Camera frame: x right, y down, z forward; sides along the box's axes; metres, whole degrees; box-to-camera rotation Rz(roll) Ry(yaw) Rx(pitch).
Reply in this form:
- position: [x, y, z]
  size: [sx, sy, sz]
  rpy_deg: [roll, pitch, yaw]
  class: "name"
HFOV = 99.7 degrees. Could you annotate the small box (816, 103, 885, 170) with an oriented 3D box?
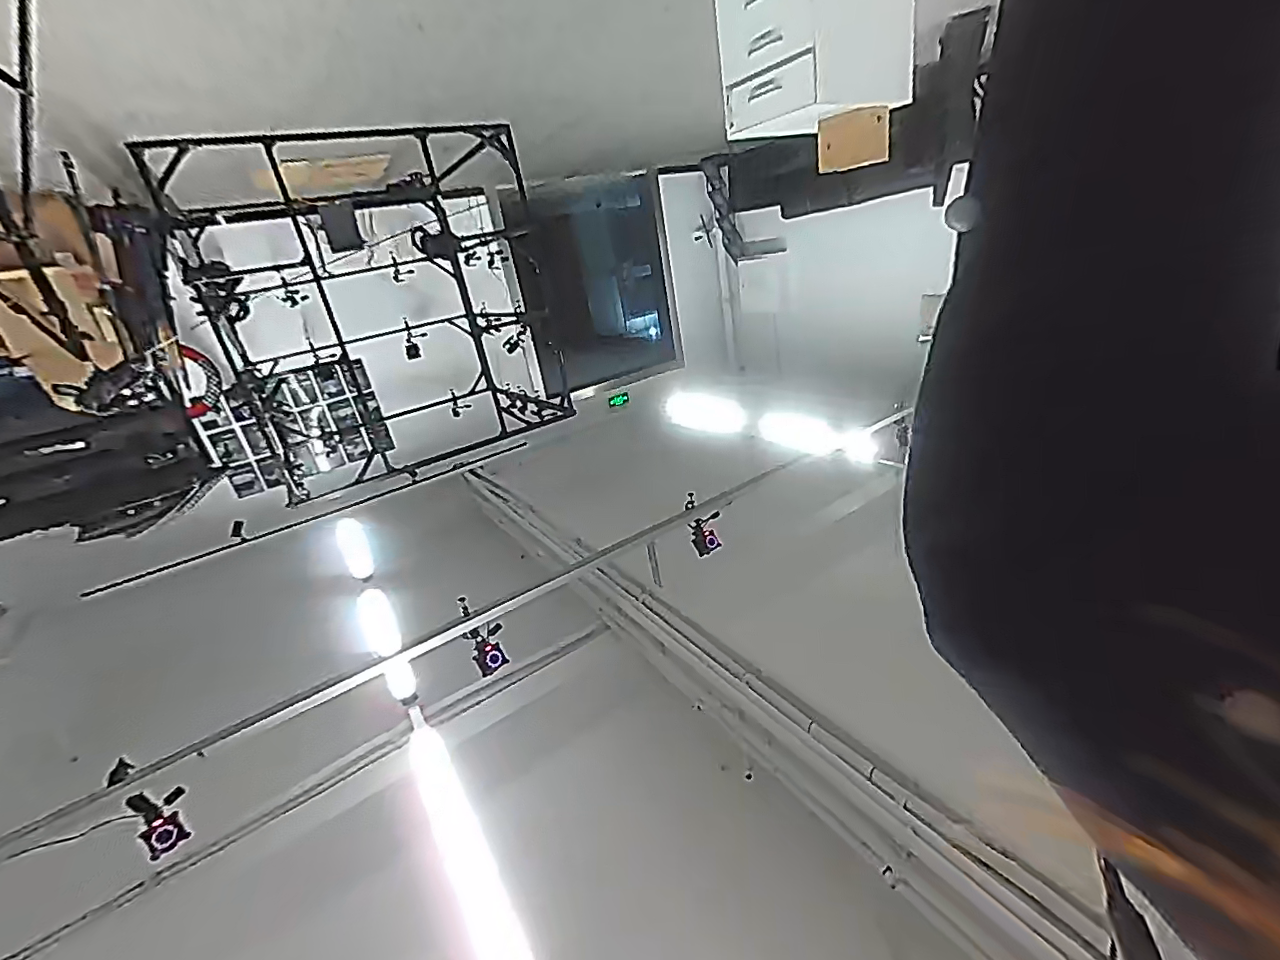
- position: [0.743, -1.211, 1.909]
  size: [0.168, 0.176, 0.179]
  rpy_deg: [-26, -152, -30]
  class: "small box"
